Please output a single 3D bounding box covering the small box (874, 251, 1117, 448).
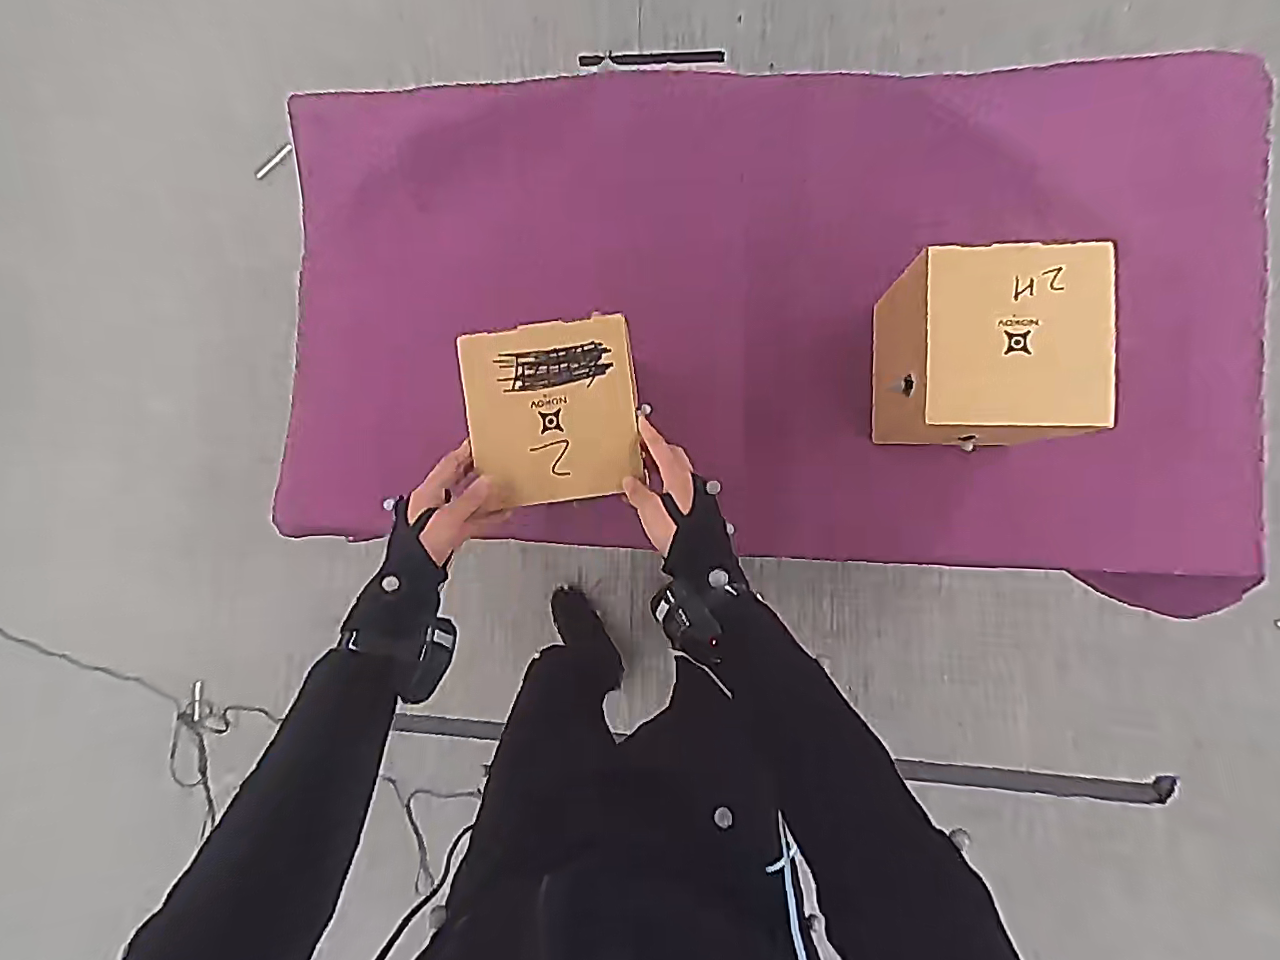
[{"bbox_3d":[0.366,-0.128,0.588,0.168,0.176,0.179,2,88,7],"label":"small box"}]
